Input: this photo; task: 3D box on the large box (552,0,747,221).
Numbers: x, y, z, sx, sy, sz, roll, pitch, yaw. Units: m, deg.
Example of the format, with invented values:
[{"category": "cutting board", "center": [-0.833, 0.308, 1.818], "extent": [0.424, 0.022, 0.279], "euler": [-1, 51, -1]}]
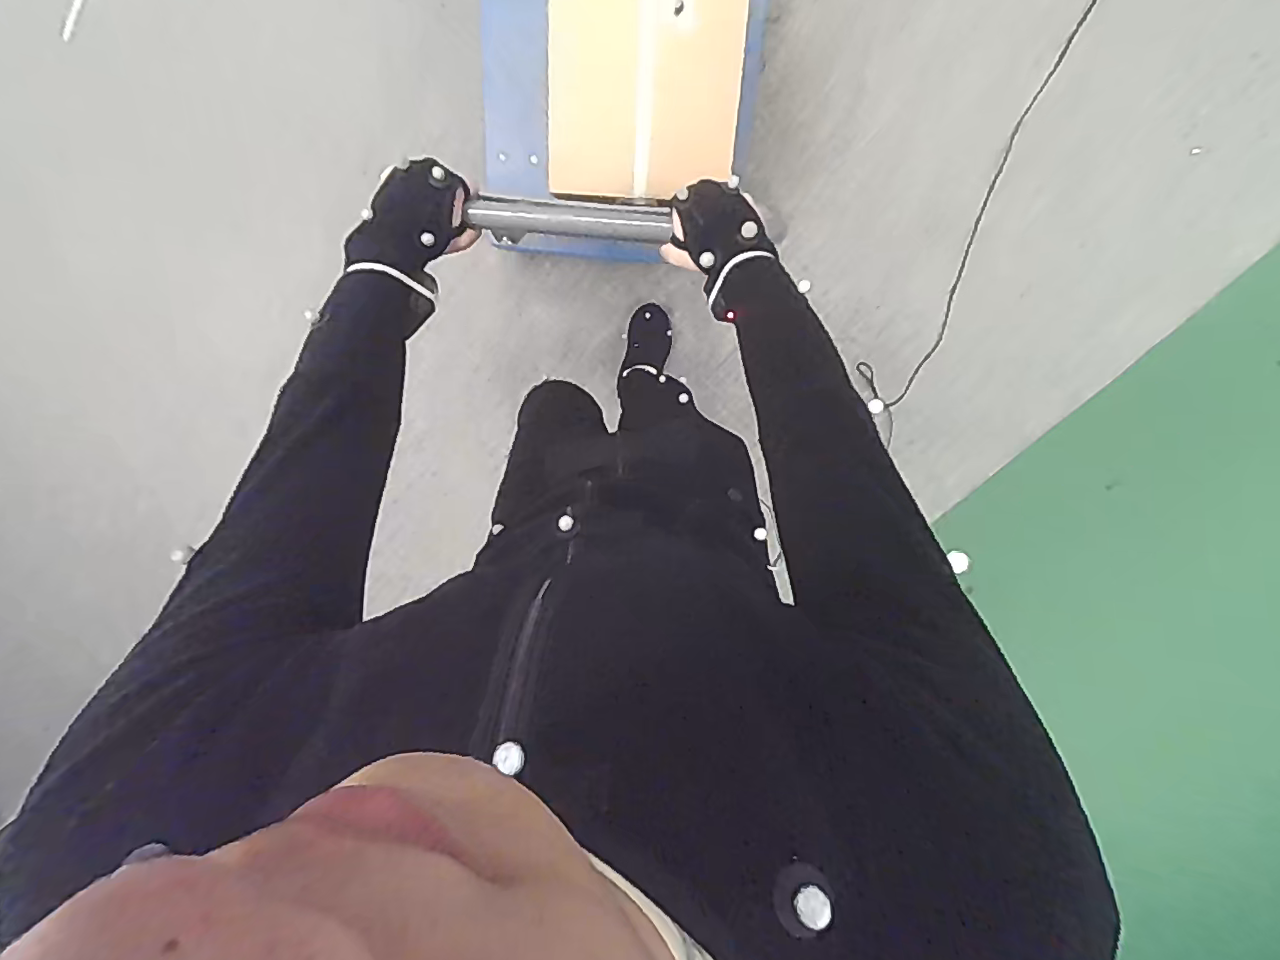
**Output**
[{"category": "large box", "center": [0.015, -0.731, 1.028], "extent": [0.320, 0.320, 0.408], "euler": [4, 111, -1]}]
